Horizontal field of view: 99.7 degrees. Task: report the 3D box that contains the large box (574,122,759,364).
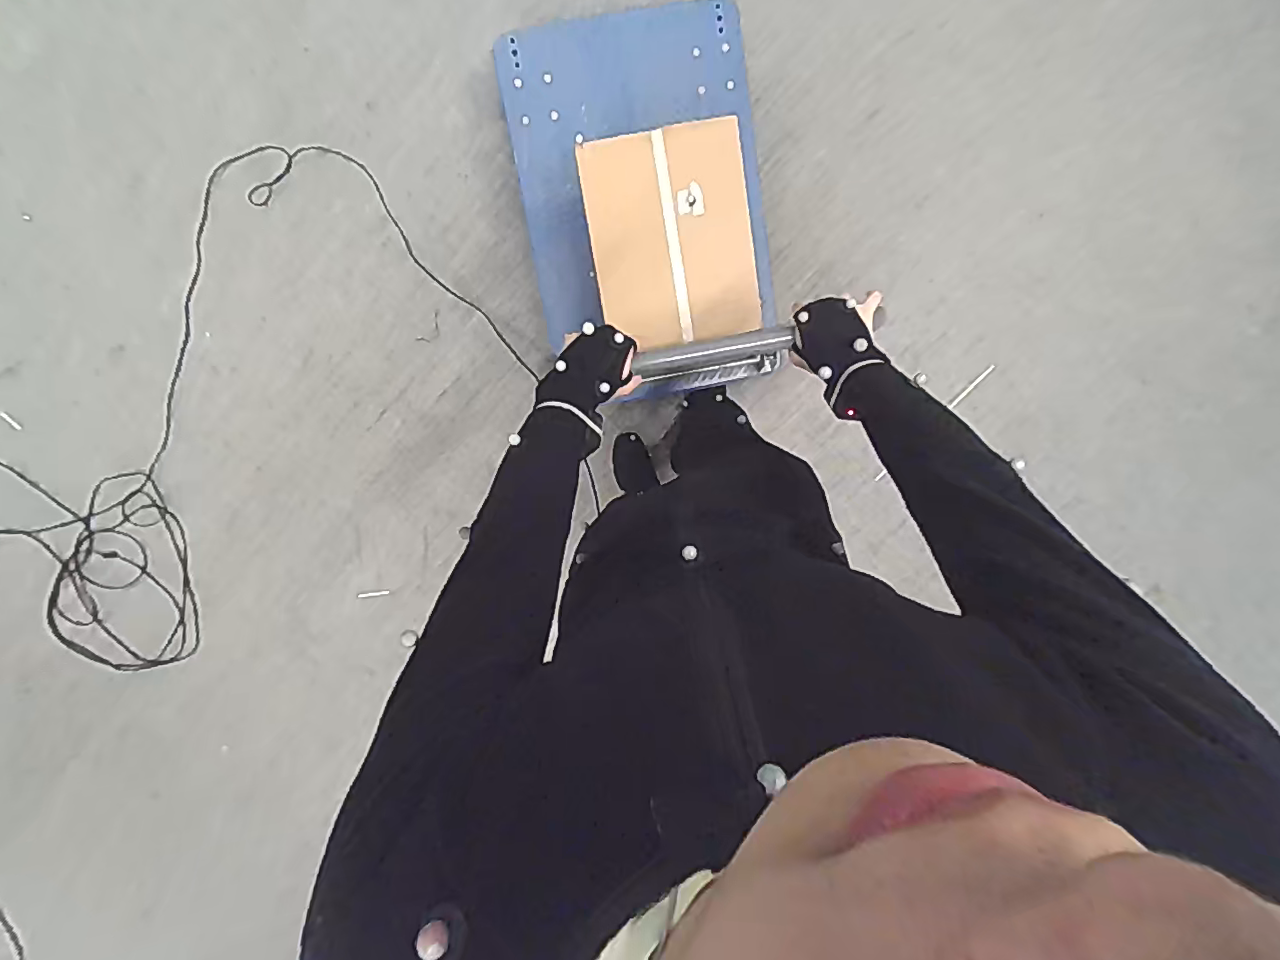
[{"bbox_3d":[0.056,-0.493,1.216,0.320,0.320,0.408,-10,99,0],"label":"large box"}]
